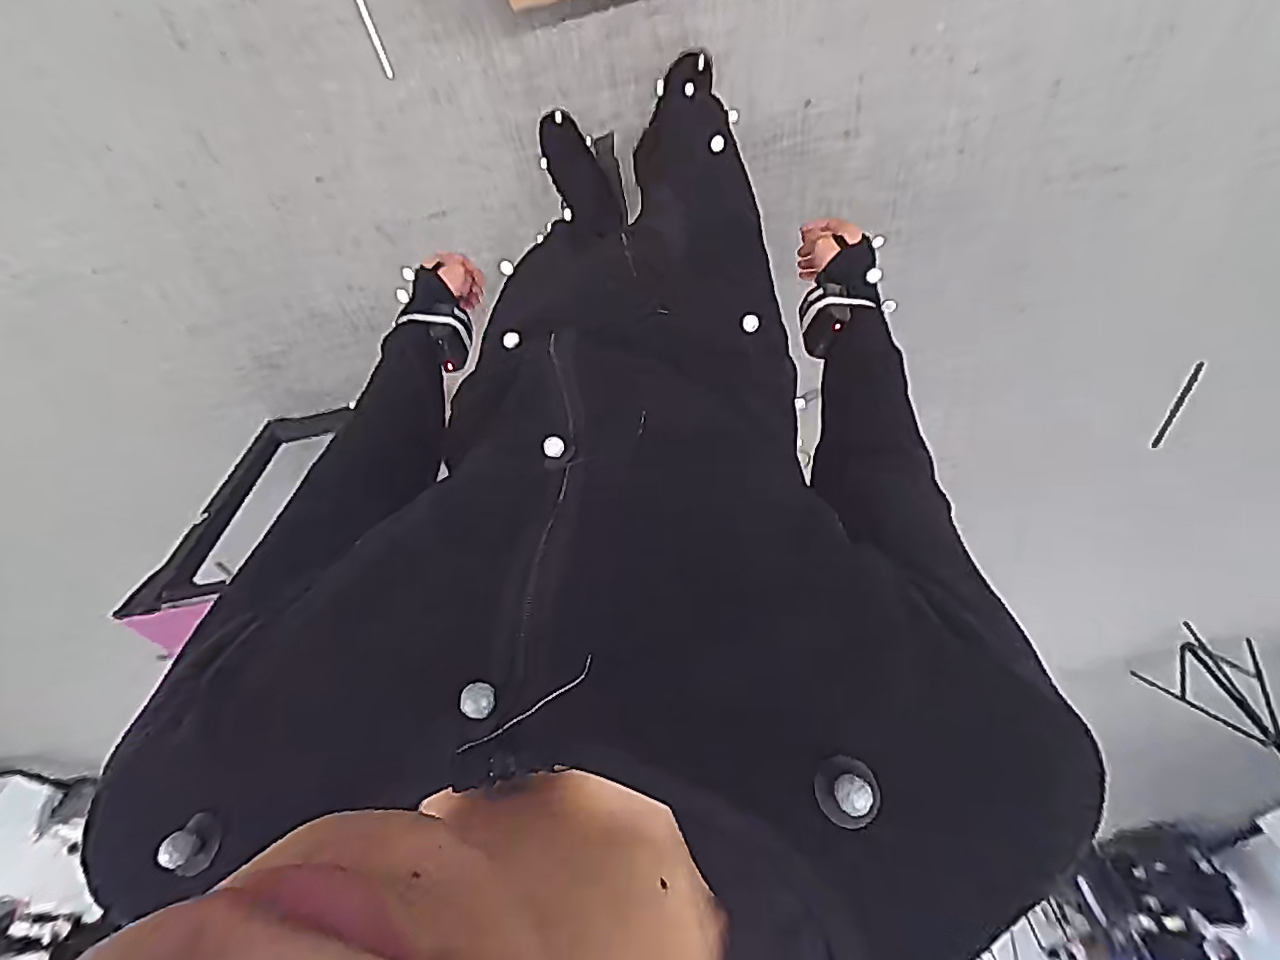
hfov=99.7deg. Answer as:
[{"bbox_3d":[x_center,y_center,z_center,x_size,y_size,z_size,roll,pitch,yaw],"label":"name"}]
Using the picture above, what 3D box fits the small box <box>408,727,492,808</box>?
[{"bbox_3d":[-0.589,0.904,1.701,0.179,0.176,0.168,-22,132,14],"label":"small box"}]
